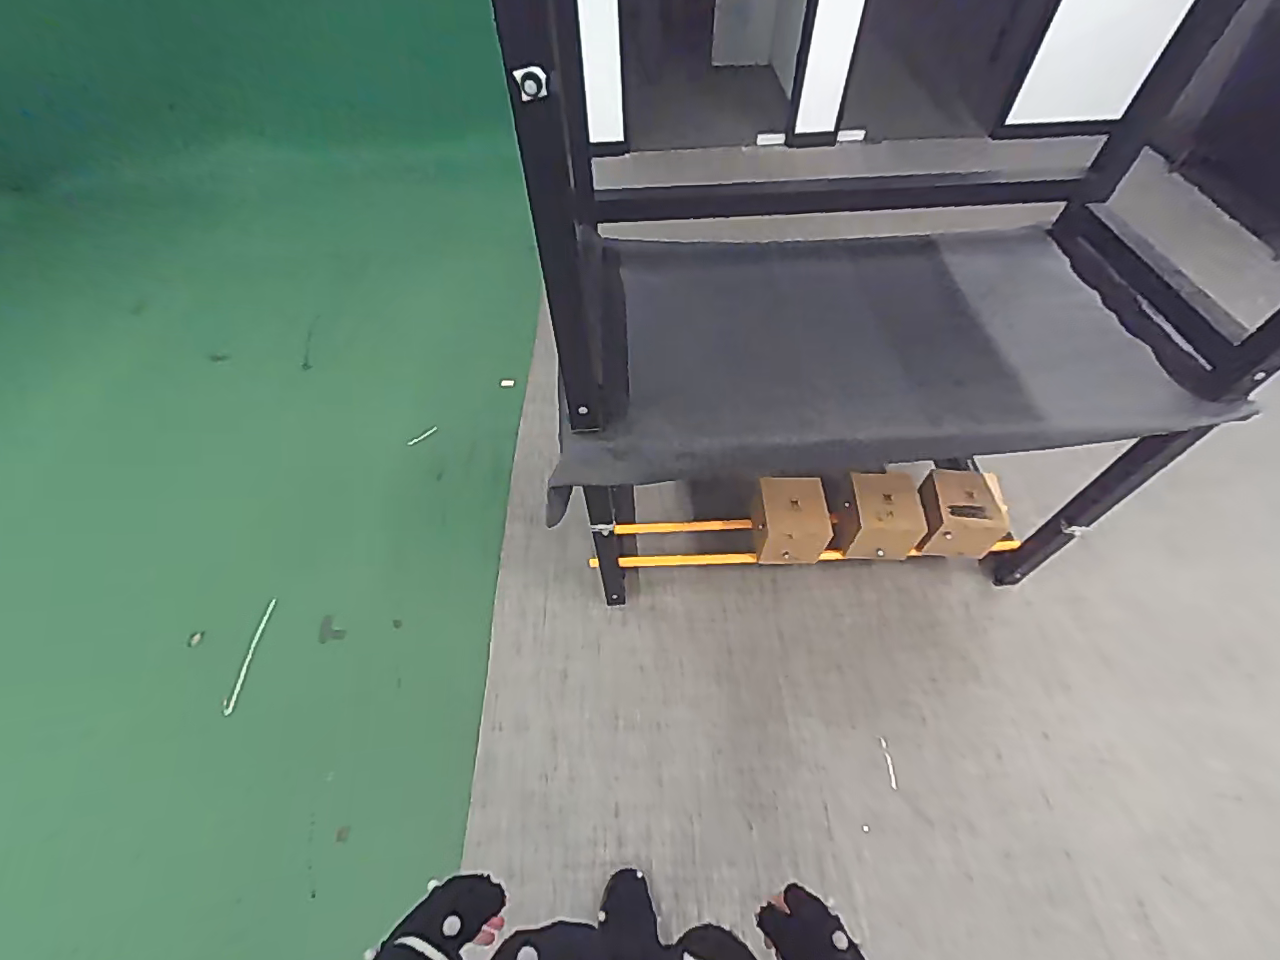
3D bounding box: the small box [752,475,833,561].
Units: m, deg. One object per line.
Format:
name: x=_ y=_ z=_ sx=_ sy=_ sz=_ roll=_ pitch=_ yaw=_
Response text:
small box: x=0.405 y=0.104 z=1.466 sx=0.168 sy=0.176 sz=0.179 roll=-1 pitch=57 yaw=1
